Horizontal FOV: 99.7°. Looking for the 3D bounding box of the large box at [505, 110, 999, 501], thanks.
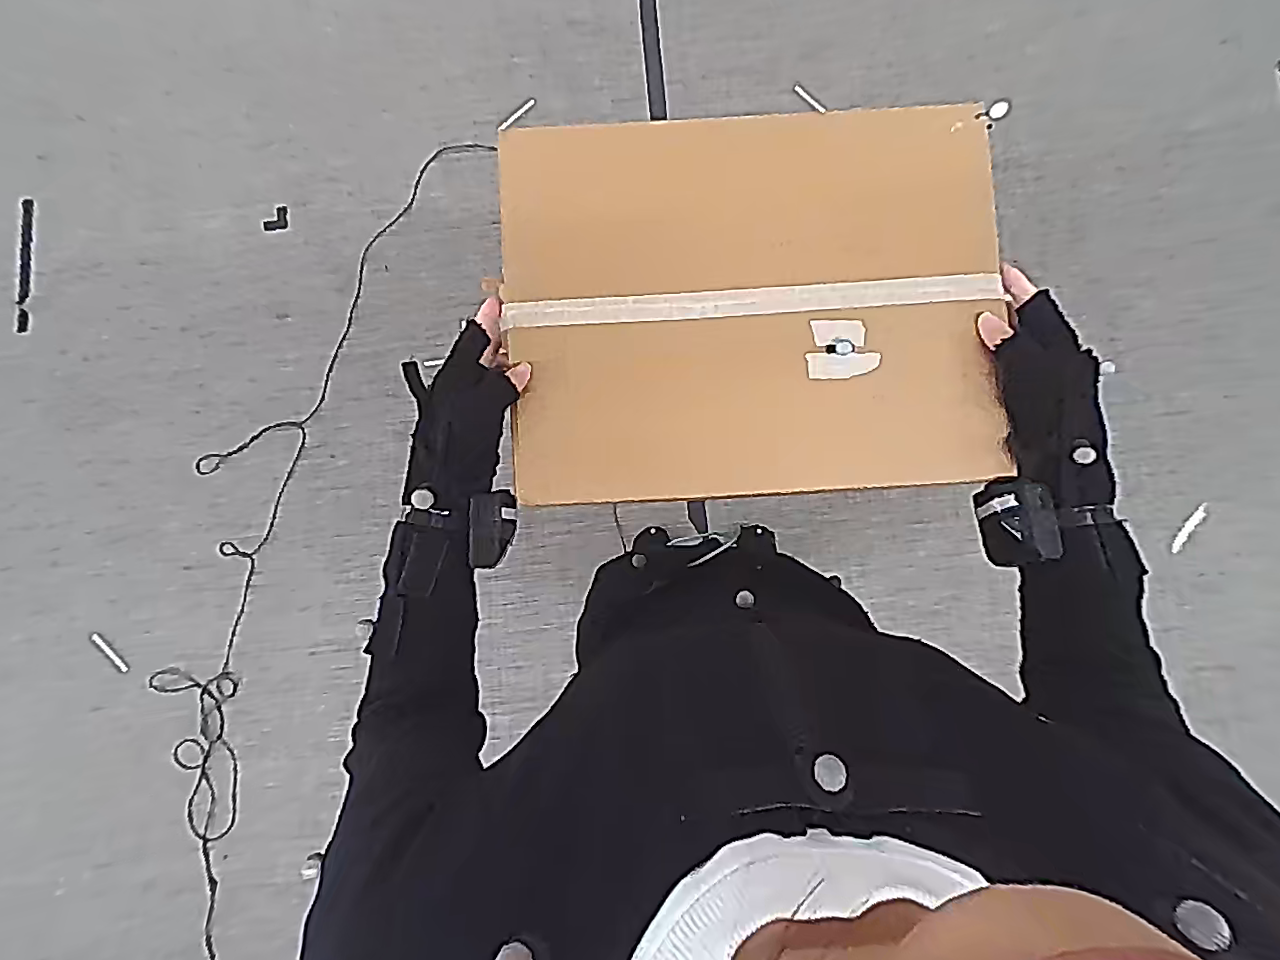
[{"bbox_3d":[0.090,-0.145,0.604,0.408,0.320,0.320,-4,89,-1],"label":"large box"}]
